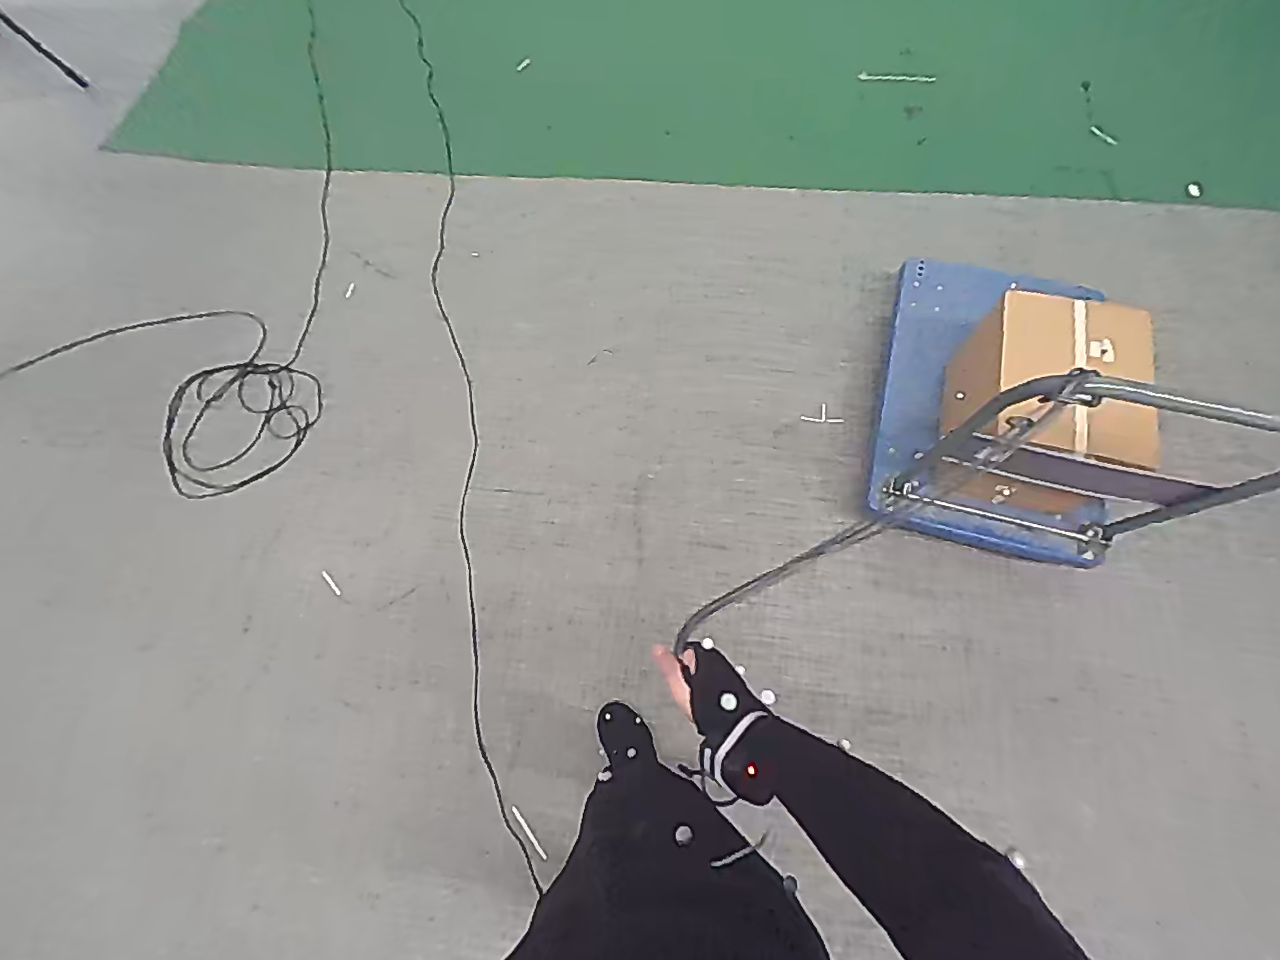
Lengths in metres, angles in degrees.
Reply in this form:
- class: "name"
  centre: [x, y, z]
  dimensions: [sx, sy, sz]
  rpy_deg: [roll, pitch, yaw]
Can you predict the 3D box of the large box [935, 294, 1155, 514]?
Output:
- class: "large box"
  centre: [0.950, -0.173, 1.318]
  dimensions: [0.320, 0.320, 0.408]
  rpy_deg: [13, 69, 8]
